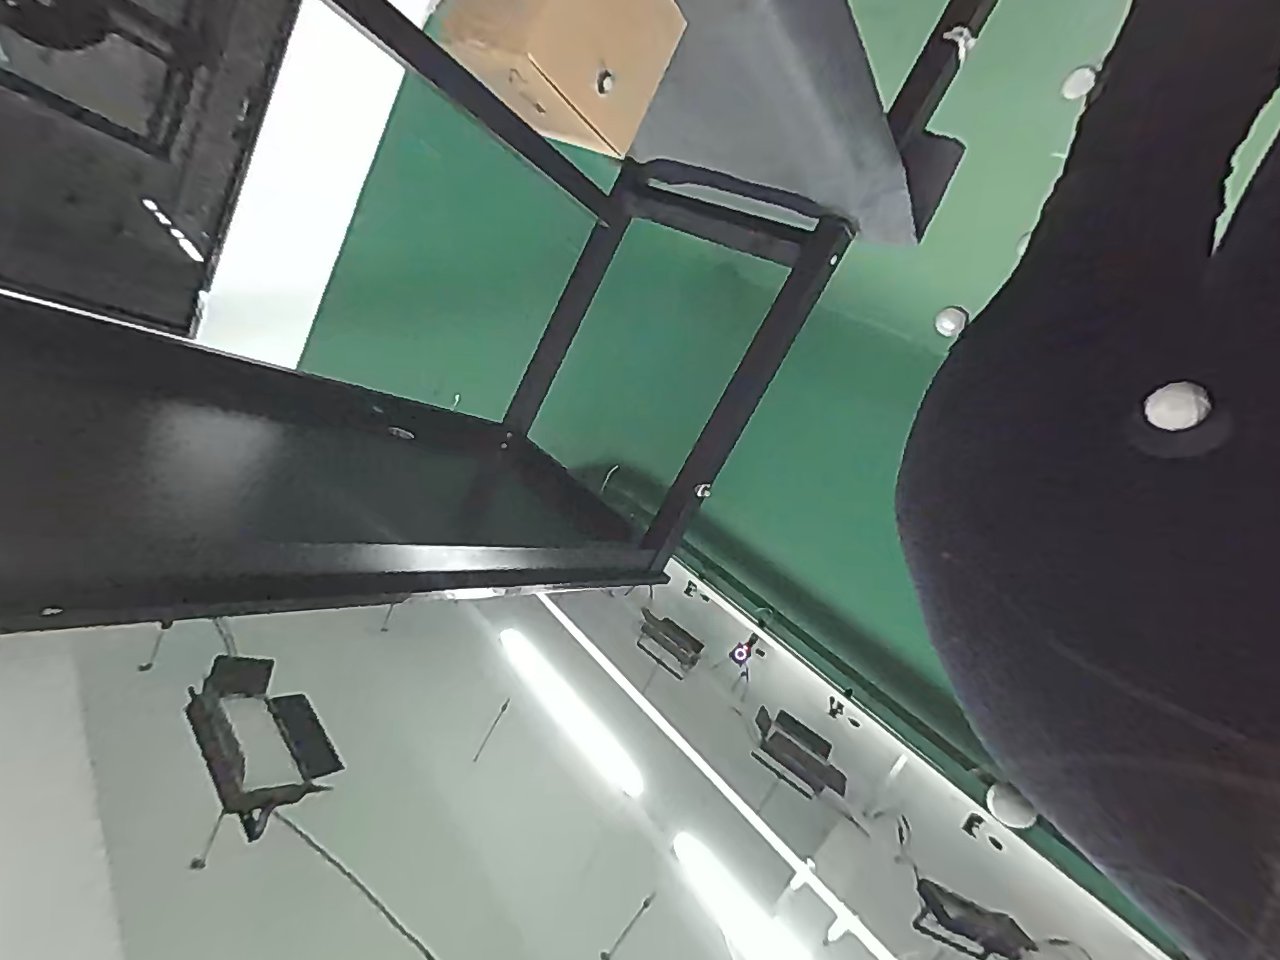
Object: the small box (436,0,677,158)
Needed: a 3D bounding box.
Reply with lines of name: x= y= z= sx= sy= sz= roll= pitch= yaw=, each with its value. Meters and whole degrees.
small box: x=-0.087 y=-0.513 z=0.614 sx=0.168 sy=0.176 sz=0.179 roll=35 pitch=-167 yaw=30
